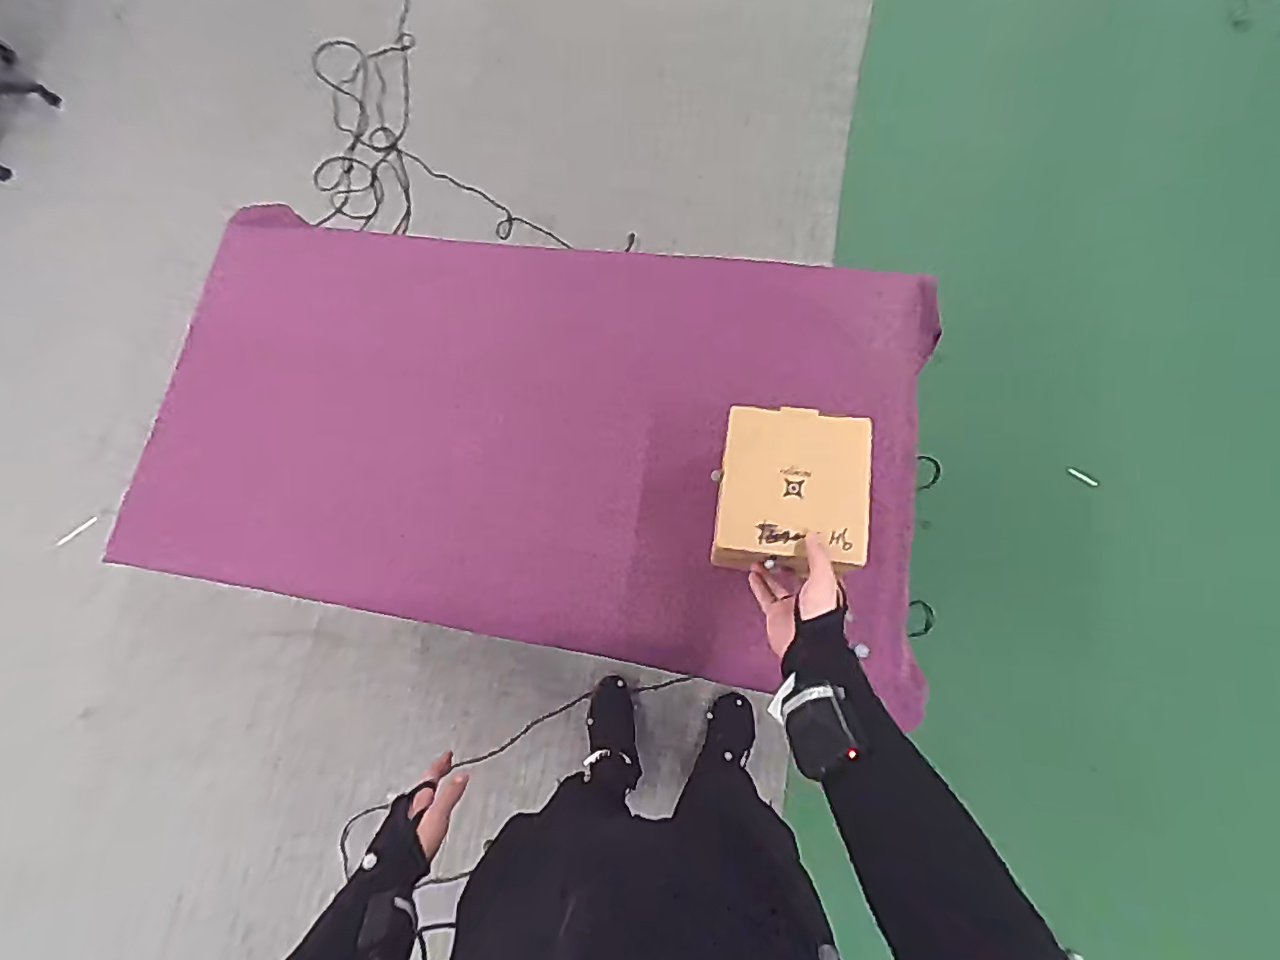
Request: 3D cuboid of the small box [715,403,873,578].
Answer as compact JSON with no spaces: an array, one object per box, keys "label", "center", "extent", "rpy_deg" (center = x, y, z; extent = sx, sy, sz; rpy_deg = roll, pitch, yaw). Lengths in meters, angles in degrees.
[{"label":"small box","center":[0.189,0.021,0.699],"extent":[0.168,0.176,0.179],"rpy_deg":[7,74,8]}]
